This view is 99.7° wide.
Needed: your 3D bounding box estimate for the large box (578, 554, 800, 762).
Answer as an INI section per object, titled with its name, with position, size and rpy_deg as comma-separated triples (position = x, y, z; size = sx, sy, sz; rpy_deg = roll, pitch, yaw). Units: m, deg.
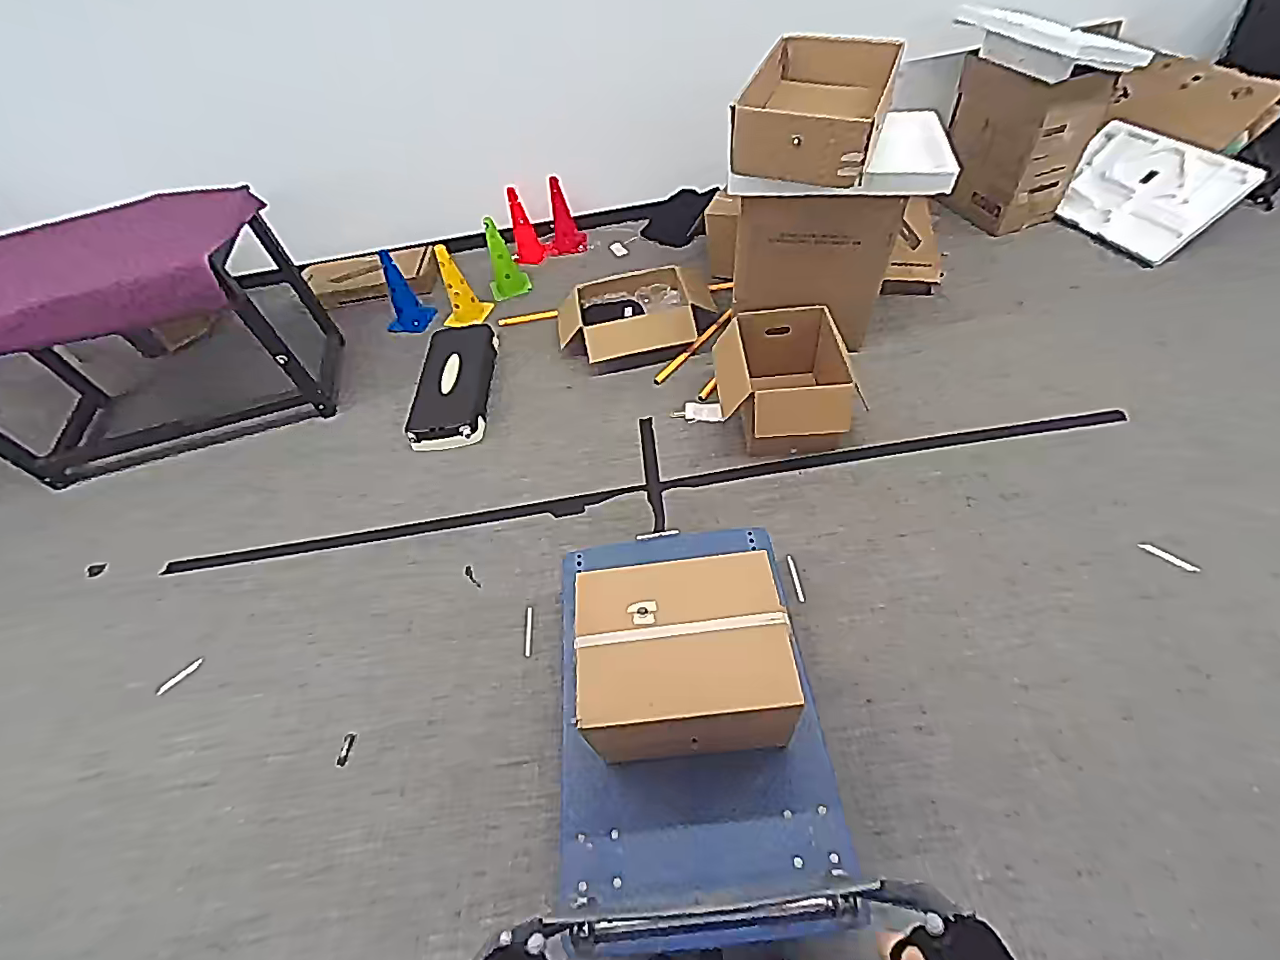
[large box]
position = 0.097, 0.395, 1.174
size = 0.408, 0.320, 0.320
rpy_deg = -9, 51, 3
